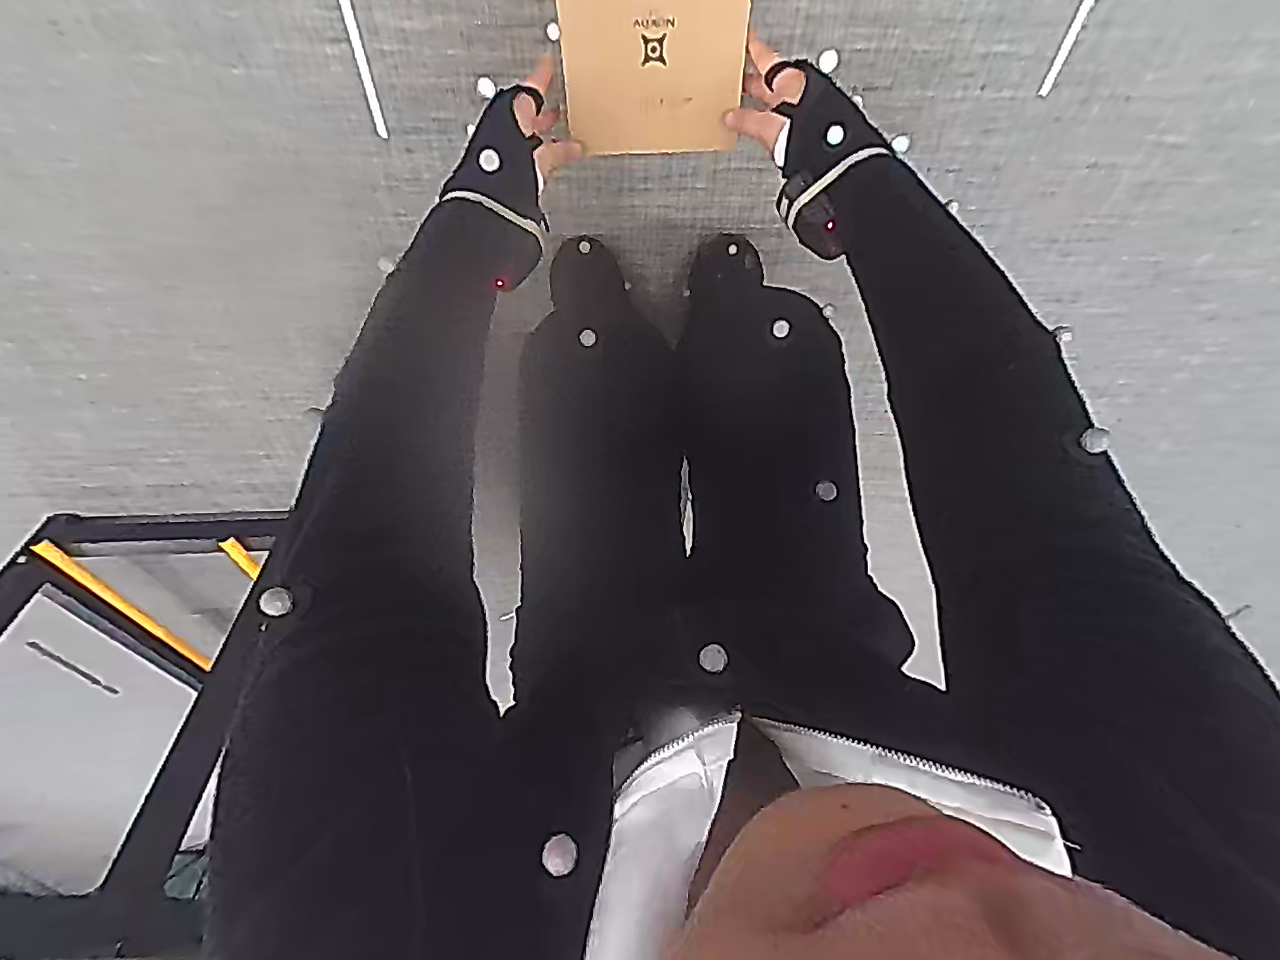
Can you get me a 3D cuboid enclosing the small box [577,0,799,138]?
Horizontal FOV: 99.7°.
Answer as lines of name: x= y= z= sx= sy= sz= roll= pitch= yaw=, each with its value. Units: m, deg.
small box: x=0.031 y=-0.411 z=0.445 sx=0.168 sy=0.176 sz=0.179 roll=-4 pitch=140 yaw=0
